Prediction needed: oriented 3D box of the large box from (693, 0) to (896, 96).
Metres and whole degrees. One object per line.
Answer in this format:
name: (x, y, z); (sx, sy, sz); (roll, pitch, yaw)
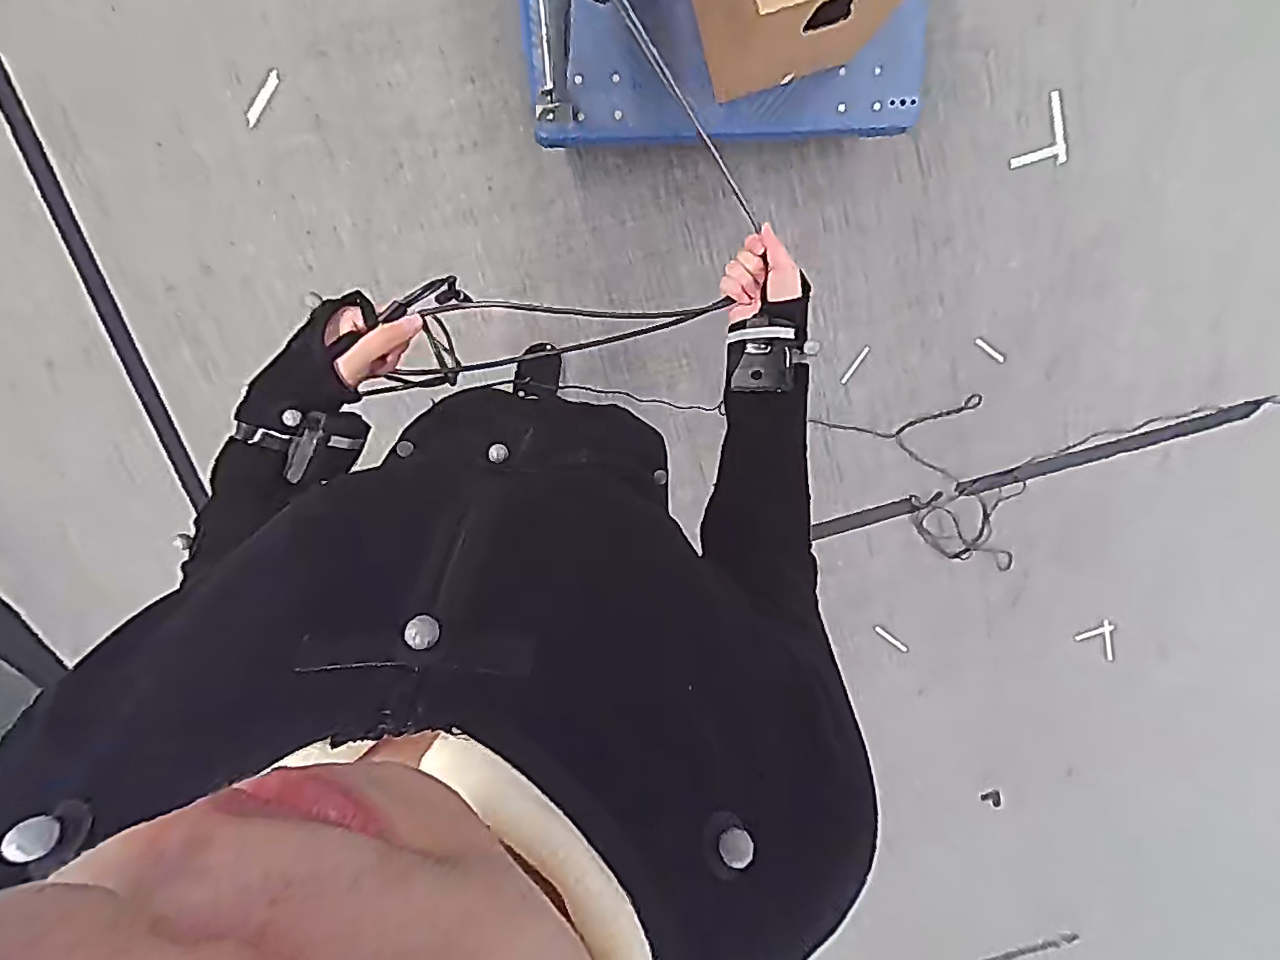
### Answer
large box: (0.262, -1.020, 0.976); (0.320, 0.320, 0.408); (-19, 104, 0)
